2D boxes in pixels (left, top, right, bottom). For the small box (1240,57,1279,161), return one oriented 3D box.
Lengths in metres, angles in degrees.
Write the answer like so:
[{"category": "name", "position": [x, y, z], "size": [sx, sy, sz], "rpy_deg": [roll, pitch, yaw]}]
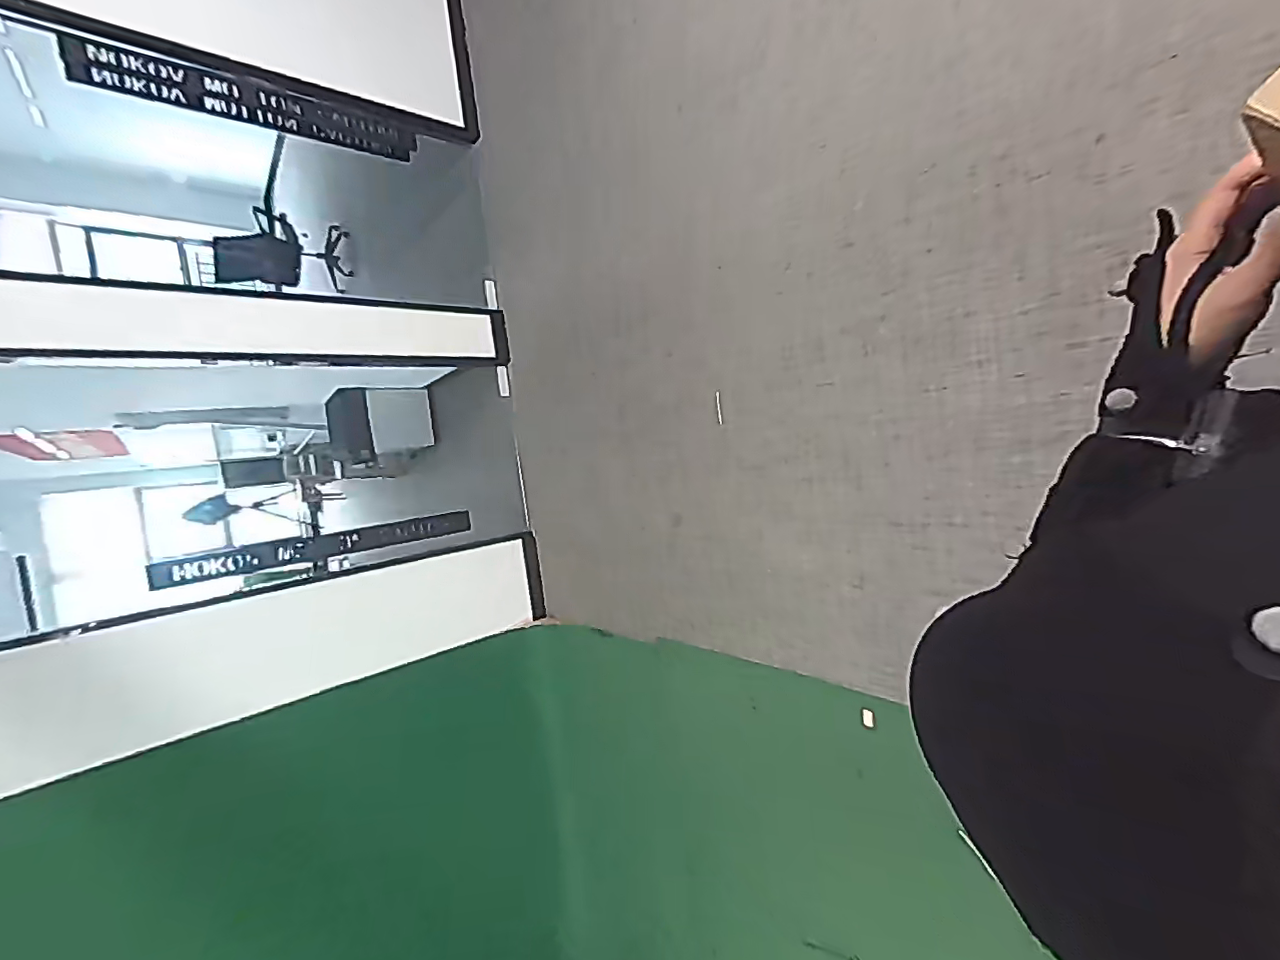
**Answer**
[{"category": "small box", "position": [0.414, -0.165, 0.204], "size": [0.179, 0.176, 0.168], "rpy_deg": [-52, 46, 39]}]
